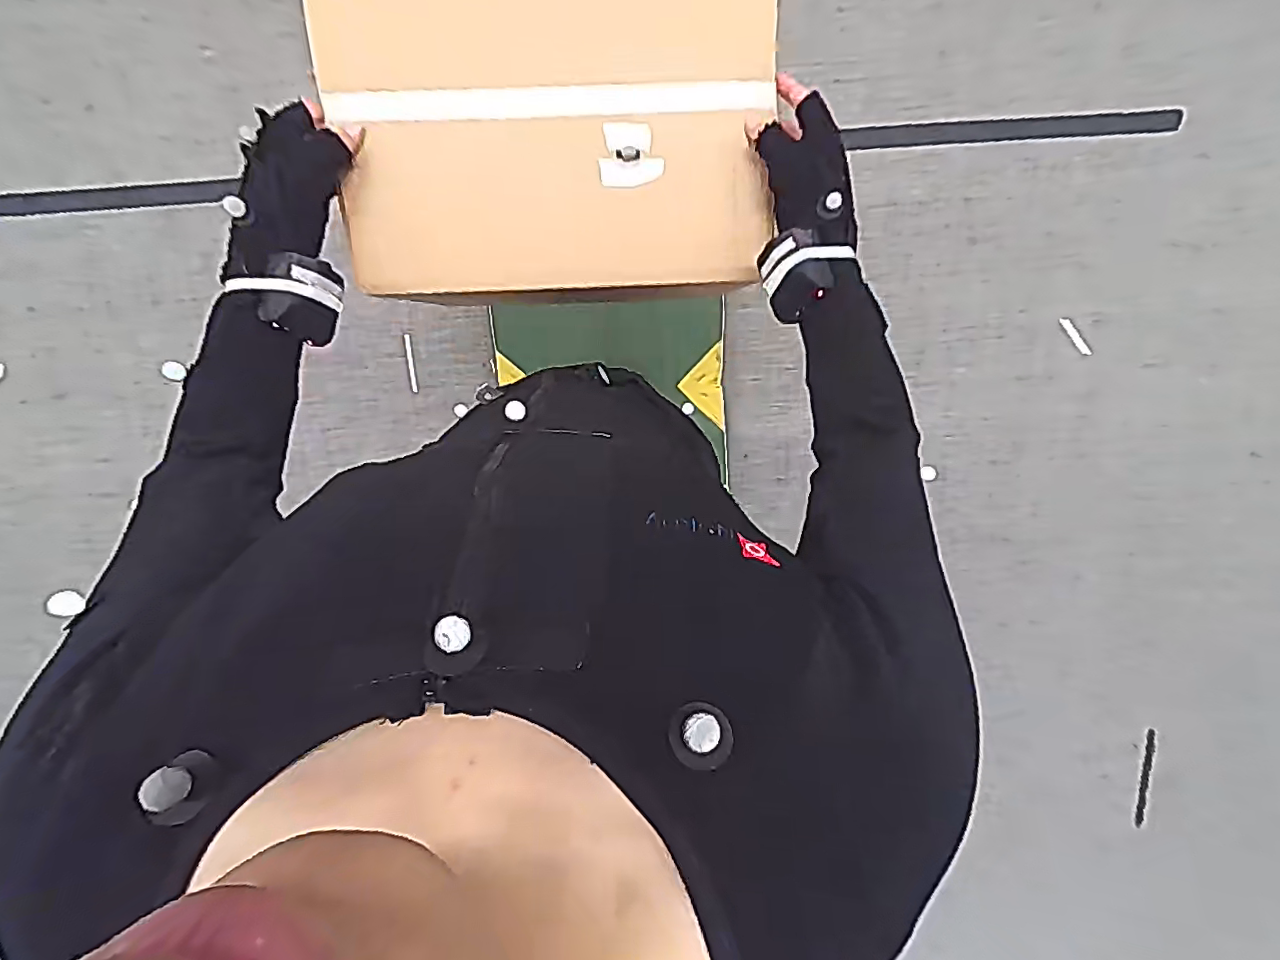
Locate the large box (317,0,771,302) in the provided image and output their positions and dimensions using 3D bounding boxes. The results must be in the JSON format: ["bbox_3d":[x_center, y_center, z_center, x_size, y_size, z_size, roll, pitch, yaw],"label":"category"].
[{"bbox_3d":[-0.087,-0.391,0.638,0.408,0.320,0.320,-4,106,-3],"label":"large box"}]
